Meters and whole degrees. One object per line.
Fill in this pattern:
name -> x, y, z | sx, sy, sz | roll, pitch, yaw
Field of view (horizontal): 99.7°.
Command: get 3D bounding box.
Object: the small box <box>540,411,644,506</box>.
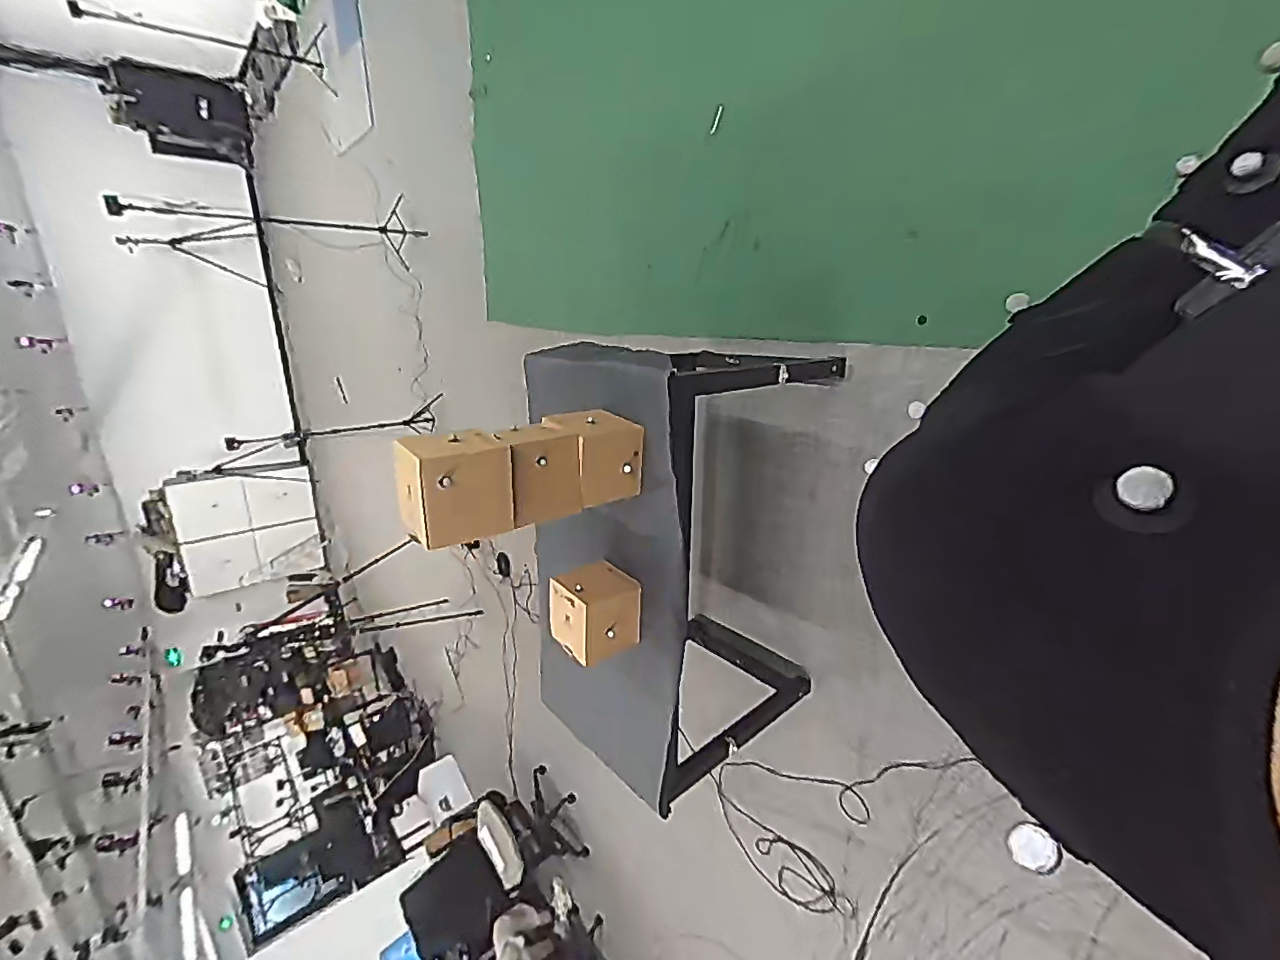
small box -> -0.113, -0.056, 1.237 | 0.179, 0.176, 0.168 | 27, 122, 45

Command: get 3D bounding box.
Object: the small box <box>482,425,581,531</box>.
small box -> -0.239, -0.015, 1.143 | 0.168, 0.176, 0.179 | 18, 117, 50

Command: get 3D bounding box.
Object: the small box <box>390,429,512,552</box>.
small box -> -0.355, 0.009, 1.025 | 0.168, 0.176, 0.179 | 25, 121, 48

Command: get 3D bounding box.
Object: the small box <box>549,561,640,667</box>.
small box -> -0.114, 0.329, 1.361 | 0.168, 0.176, 0.179 | 22, 119, 46
